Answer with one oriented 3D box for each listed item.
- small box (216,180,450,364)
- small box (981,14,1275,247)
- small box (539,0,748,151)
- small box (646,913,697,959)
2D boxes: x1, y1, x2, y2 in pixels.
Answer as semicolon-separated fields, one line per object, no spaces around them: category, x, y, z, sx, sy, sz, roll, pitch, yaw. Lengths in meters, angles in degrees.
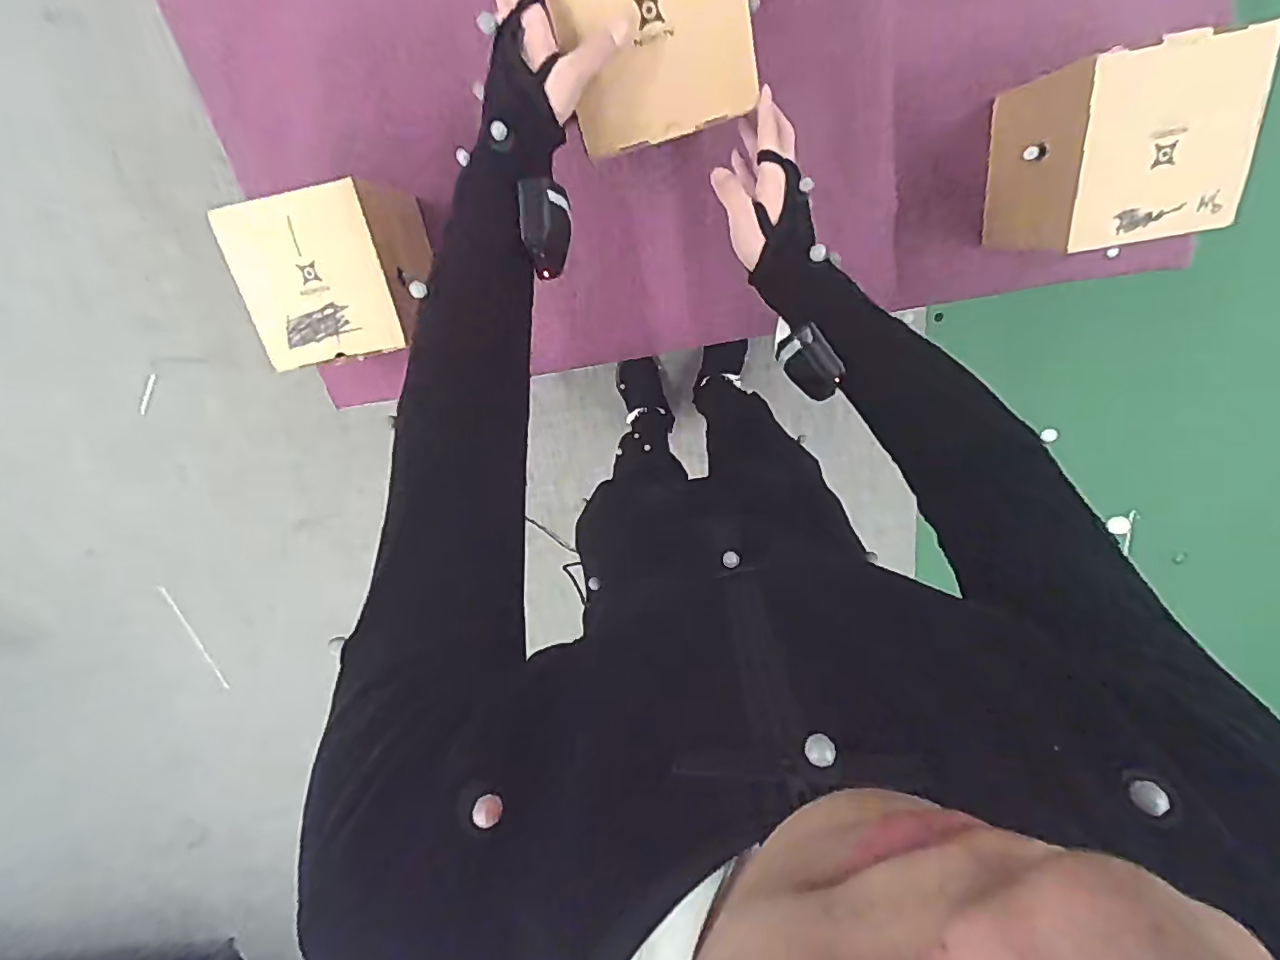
small box;-0.365;-0.260;0.684;0.168;0.176;0.179;-9;112;6
small box;0.511;-0.365;0.601;0.168;0.176;0.179;-7;114;7
small box;0.000;-0.444;0.528;0.168;0.176;0.179;-13;123;9
small box;0.107;1.645;1.877;0.168;0.176;0.179;3;114;2
